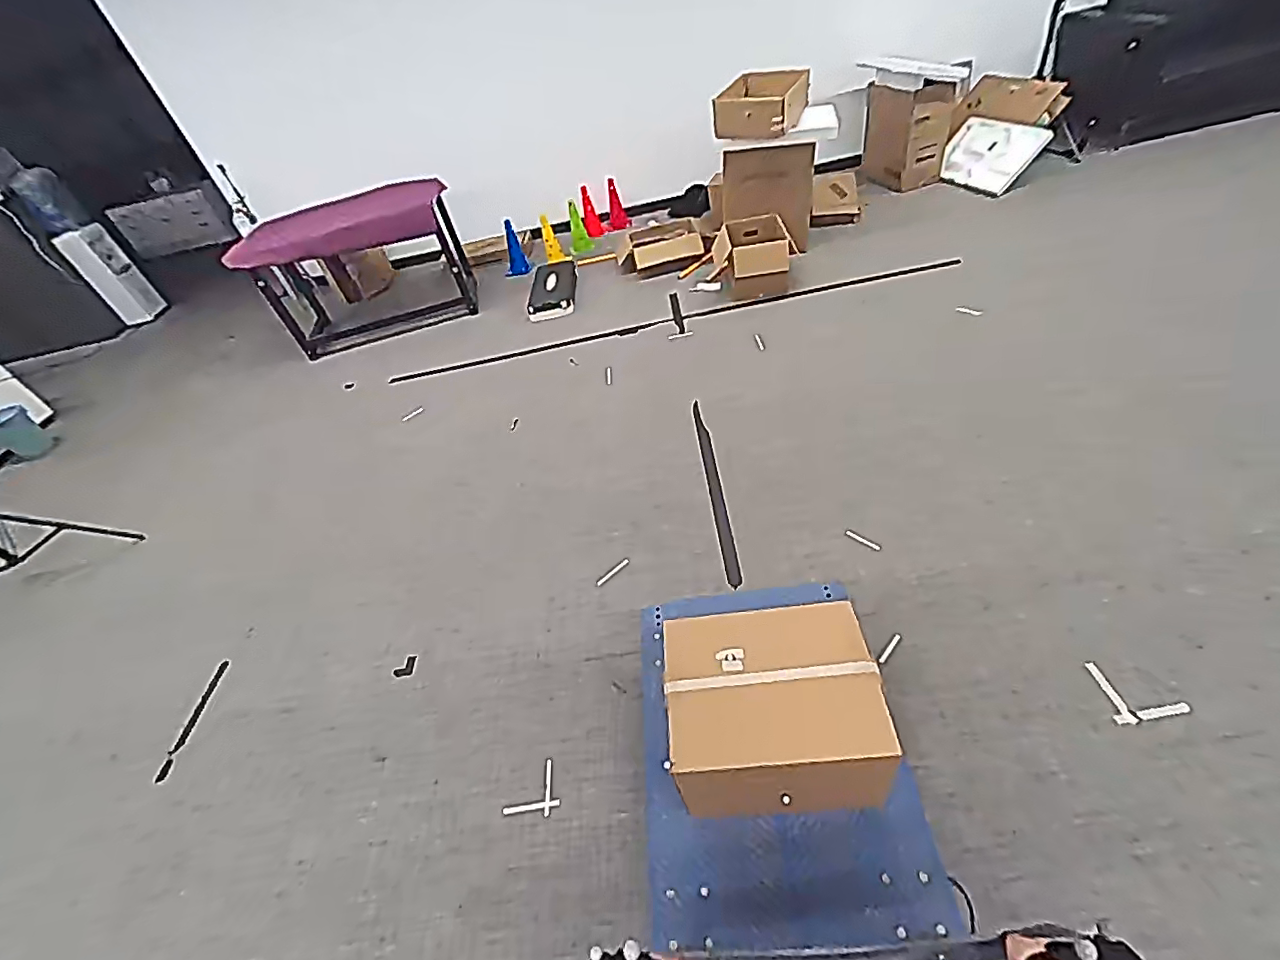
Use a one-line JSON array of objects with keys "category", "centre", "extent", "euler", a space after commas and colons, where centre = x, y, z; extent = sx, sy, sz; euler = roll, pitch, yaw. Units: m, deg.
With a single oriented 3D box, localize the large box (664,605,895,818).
[{"category": "large box", "centre": [0.283, 0.511, 1.178], "extent": [0.408, 0.320, 0.320], "euler": [-9, 42, 7]}]
